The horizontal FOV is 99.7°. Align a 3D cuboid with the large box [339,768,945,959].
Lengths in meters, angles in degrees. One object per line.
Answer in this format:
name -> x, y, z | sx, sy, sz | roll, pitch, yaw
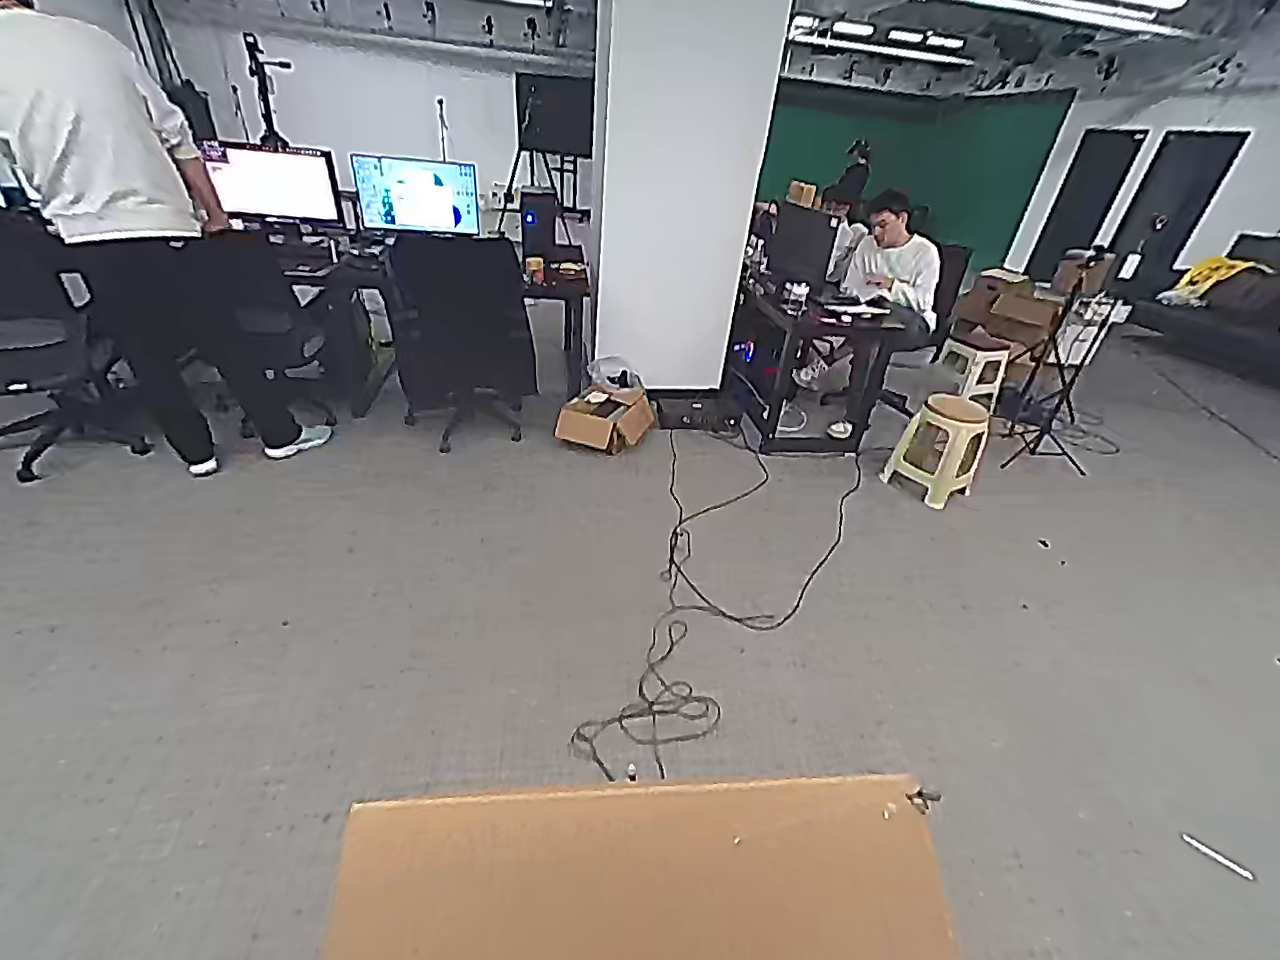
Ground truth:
large box -> -0.002, 0.434, 0.459 | 0.408, 0.320, 0.320 | -1, 63, -5
